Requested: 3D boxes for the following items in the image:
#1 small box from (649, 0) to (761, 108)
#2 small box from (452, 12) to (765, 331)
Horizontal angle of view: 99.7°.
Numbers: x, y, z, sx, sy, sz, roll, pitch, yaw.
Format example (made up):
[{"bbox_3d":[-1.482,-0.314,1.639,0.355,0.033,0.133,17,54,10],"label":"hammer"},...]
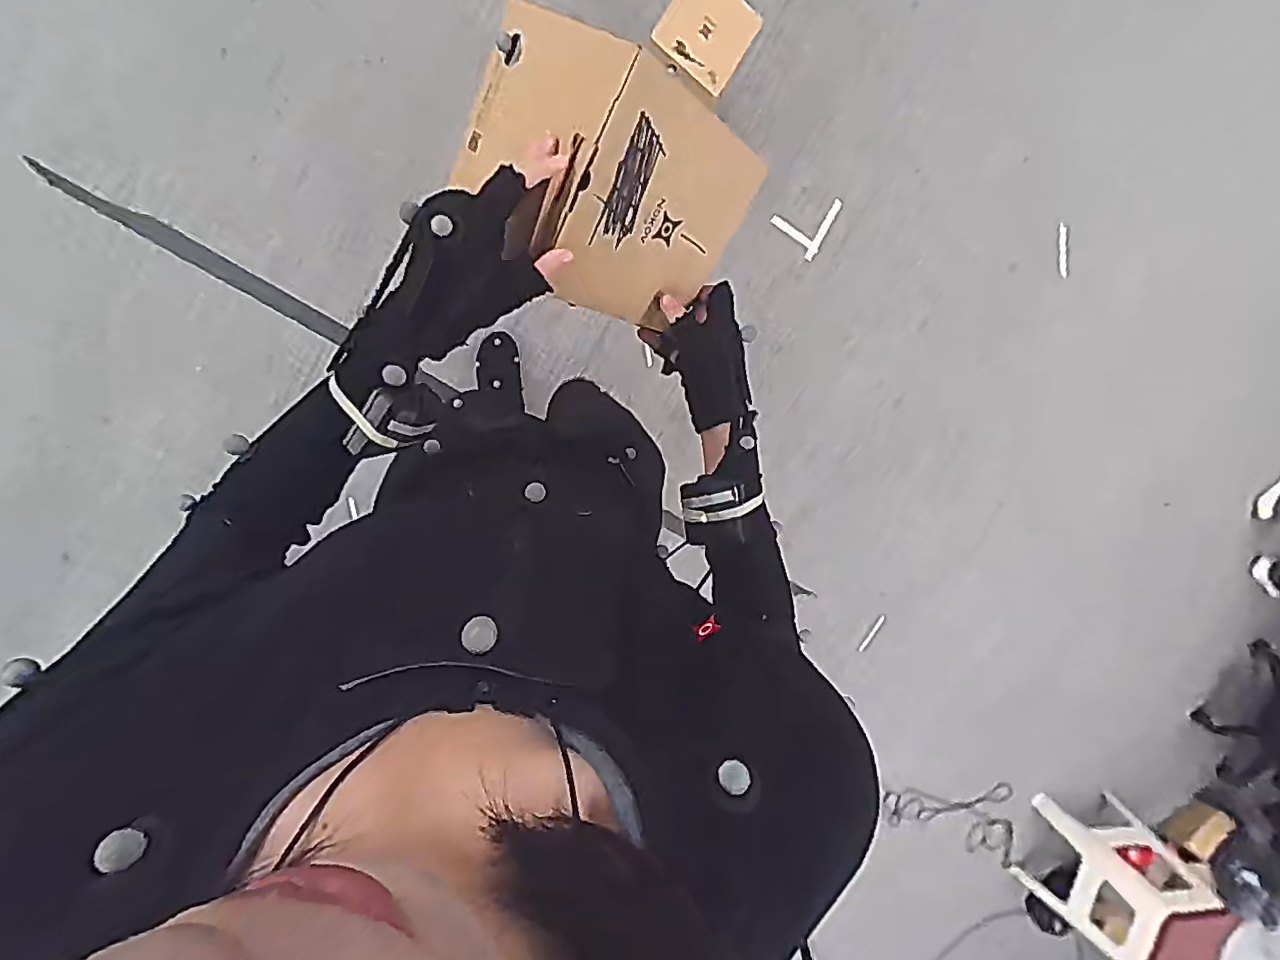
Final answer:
[{"bbox_3d":[0.111,-0.878,1.122,0.168,0.176,0.179,33,93,-16],"label":"small box"},{"bbox_3d":[-0.033,-0.259,0.470,0.179,0.176,0.168,0,129,-51],"label":"small box"}]
